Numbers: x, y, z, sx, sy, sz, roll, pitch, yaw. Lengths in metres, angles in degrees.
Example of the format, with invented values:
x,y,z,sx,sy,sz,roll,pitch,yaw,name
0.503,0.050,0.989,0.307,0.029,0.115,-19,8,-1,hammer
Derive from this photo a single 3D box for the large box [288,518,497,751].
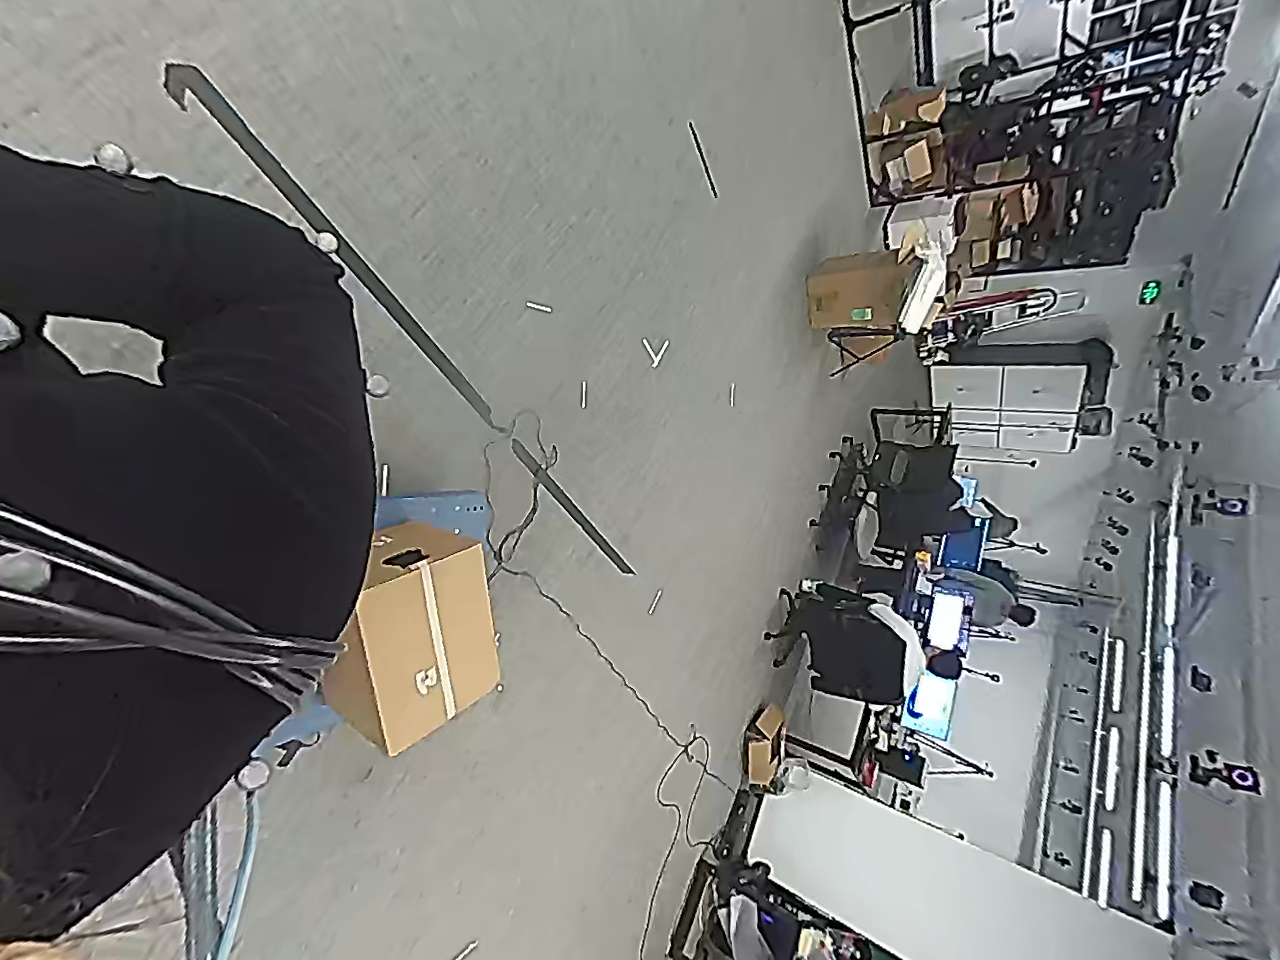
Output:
x,y,z,sx,sy,sz,roll,pitch,yaw,name
-0.593,0.348,1.324,0.320,0.320,0.408,-22,116,-49,large box
